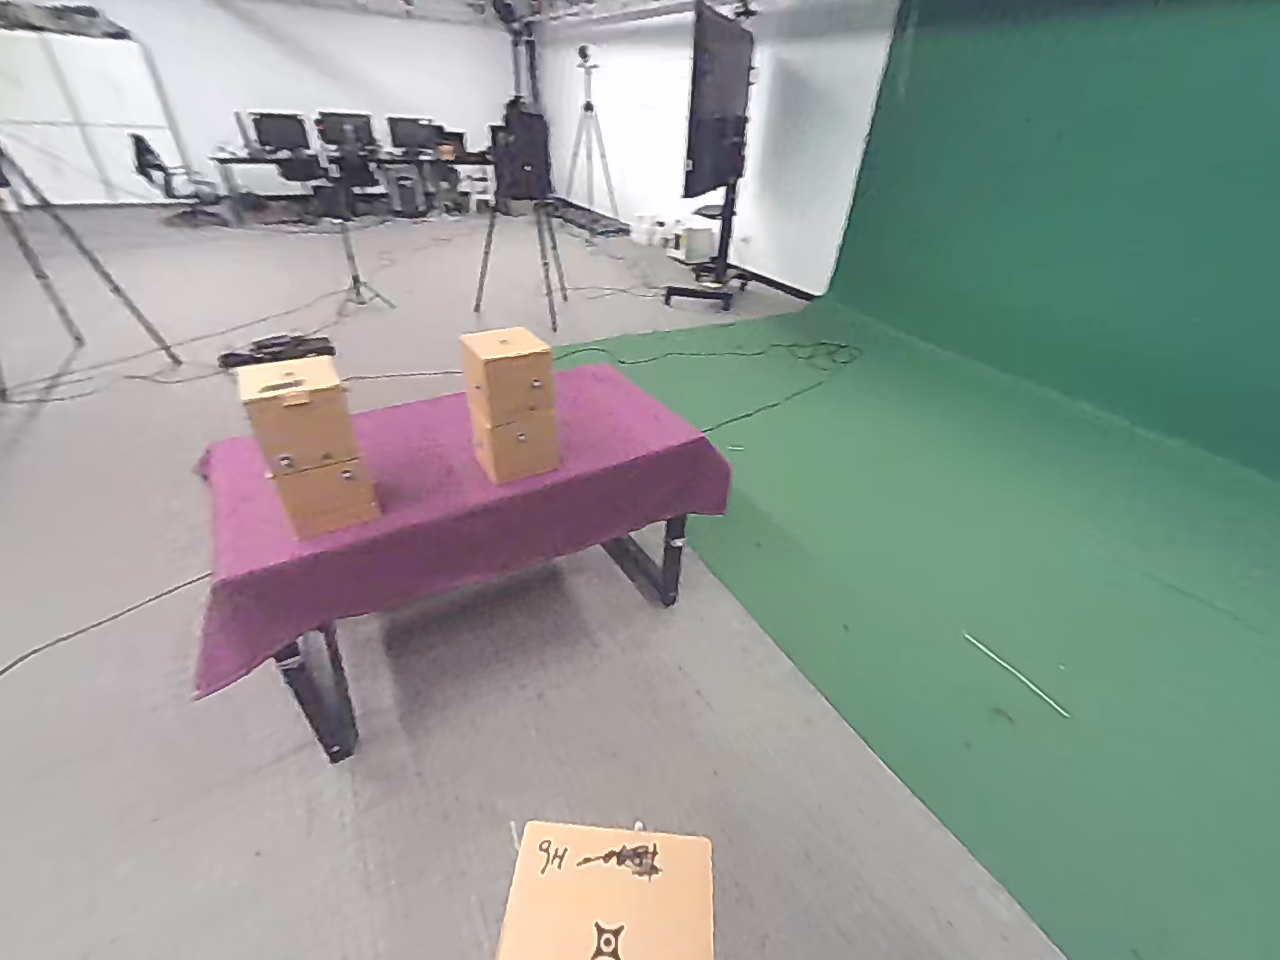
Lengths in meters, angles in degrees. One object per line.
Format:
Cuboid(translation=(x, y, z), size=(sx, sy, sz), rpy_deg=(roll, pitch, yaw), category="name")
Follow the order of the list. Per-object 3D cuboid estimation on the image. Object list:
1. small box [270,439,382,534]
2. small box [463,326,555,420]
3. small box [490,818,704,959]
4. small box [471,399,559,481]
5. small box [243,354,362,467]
Cuboid(translation=(-0.696, -0.004, 1.199), size=(0.179, 0.176, 0.168), rpy_deg=(-17, 39, -28), category="small box")
Cuboid(translation=(-0.313, -0.255, 1.308), size=(0.168, 0.176, 0.179), rpy_deg=(-17, 39, -28), category="small box")
Cuboid(translation=(-0.033, 0.422, 0.463), size=(0.168, 0.176, 0.179), rpy_deg=(4, 40, 2), category="small box")
Cuboid(translation=(-0.319, -0.118, 1.396), size=(0.179, 0.176, 0.168), rpy_deg=(-16, 40, -26), category="small box")
Cuboid(translation=(-0.687, -0.140, 1.108), size=(0.168, 0.176, 0.179), rpy_deg=(-17, 38, -28), category="small box")
